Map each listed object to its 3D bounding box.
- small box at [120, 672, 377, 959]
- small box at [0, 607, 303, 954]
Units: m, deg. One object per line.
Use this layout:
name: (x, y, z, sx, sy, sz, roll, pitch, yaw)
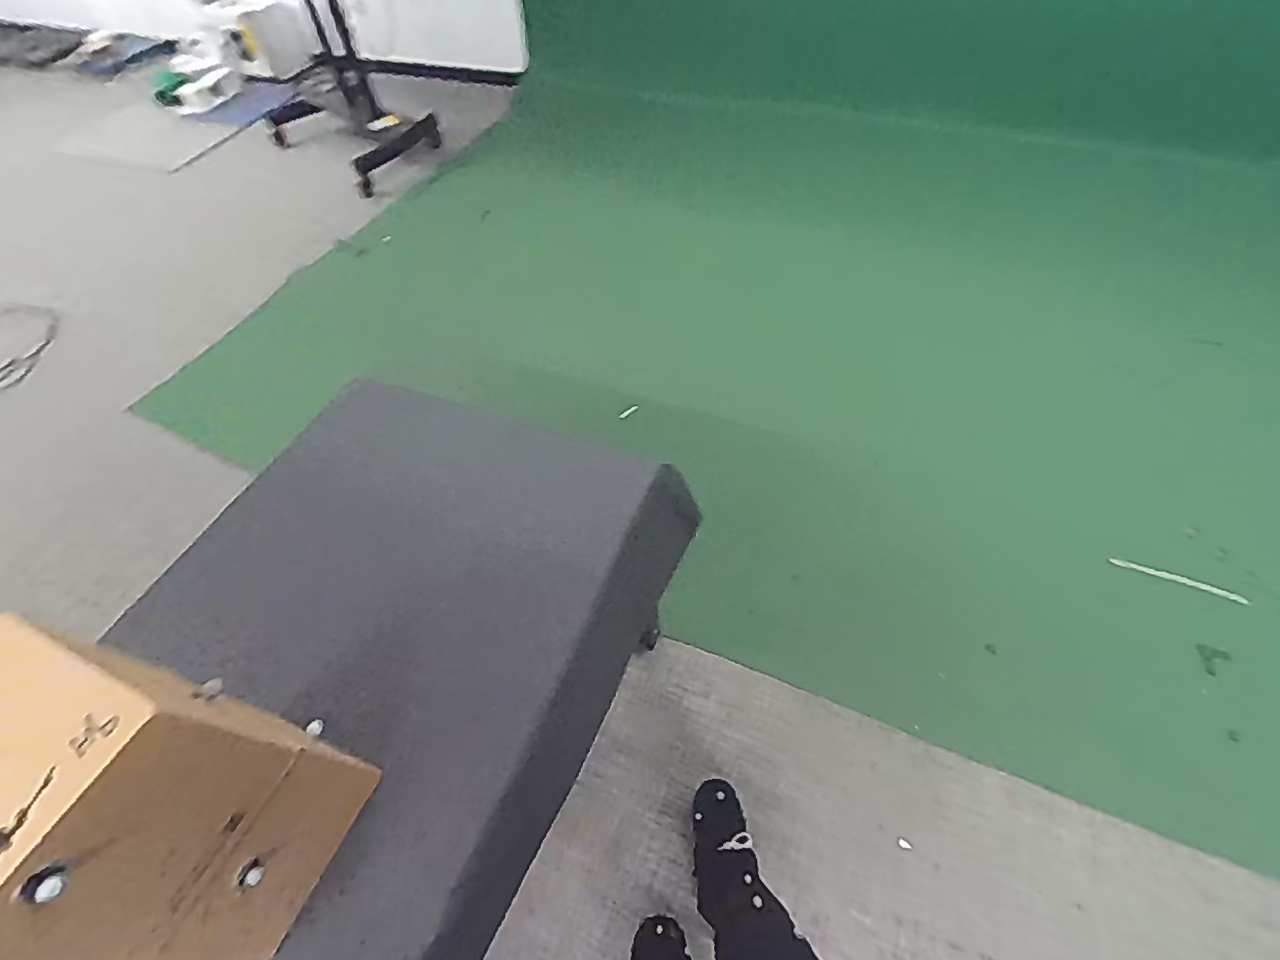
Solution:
small box: (-0.405, 0.326, 0.540, 0.168, 0.176, 0.179, 17, 57, 16)
small box: (-0.416, 0.227, 0.413, 0.179, 0.176, 0.168, 15, 56, 14)
